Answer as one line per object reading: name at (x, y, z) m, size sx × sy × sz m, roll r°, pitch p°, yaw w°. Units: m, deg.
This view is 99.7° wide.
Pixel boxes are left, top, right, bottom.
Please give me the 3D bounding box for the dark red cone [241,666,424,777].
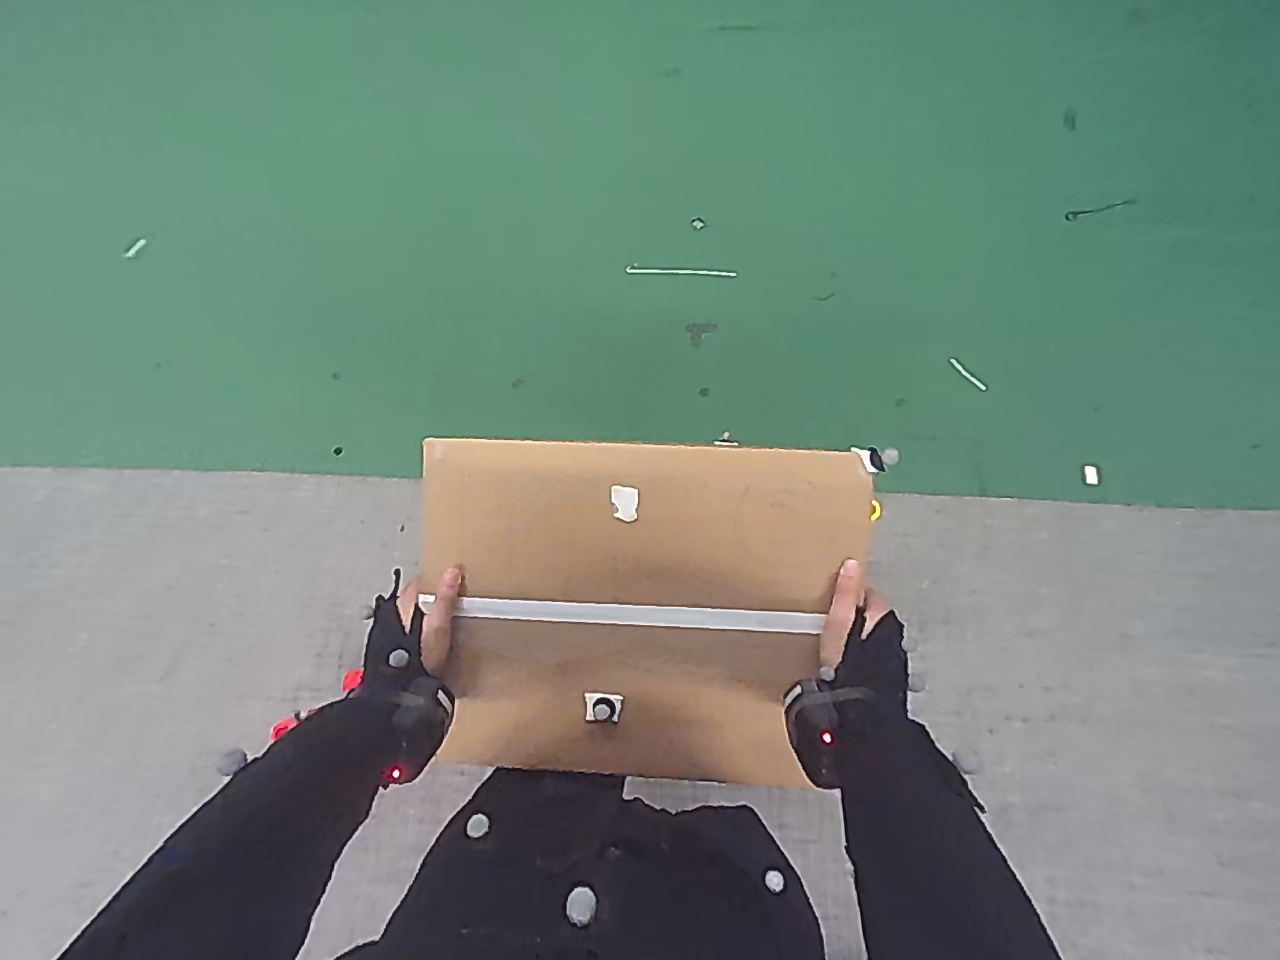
dark red cone at (-0.560, 0.437, 0.978) m, size 0.202 × 0.394 × 0.201 m, roll -5°, pitch 67°, yaw 0°
